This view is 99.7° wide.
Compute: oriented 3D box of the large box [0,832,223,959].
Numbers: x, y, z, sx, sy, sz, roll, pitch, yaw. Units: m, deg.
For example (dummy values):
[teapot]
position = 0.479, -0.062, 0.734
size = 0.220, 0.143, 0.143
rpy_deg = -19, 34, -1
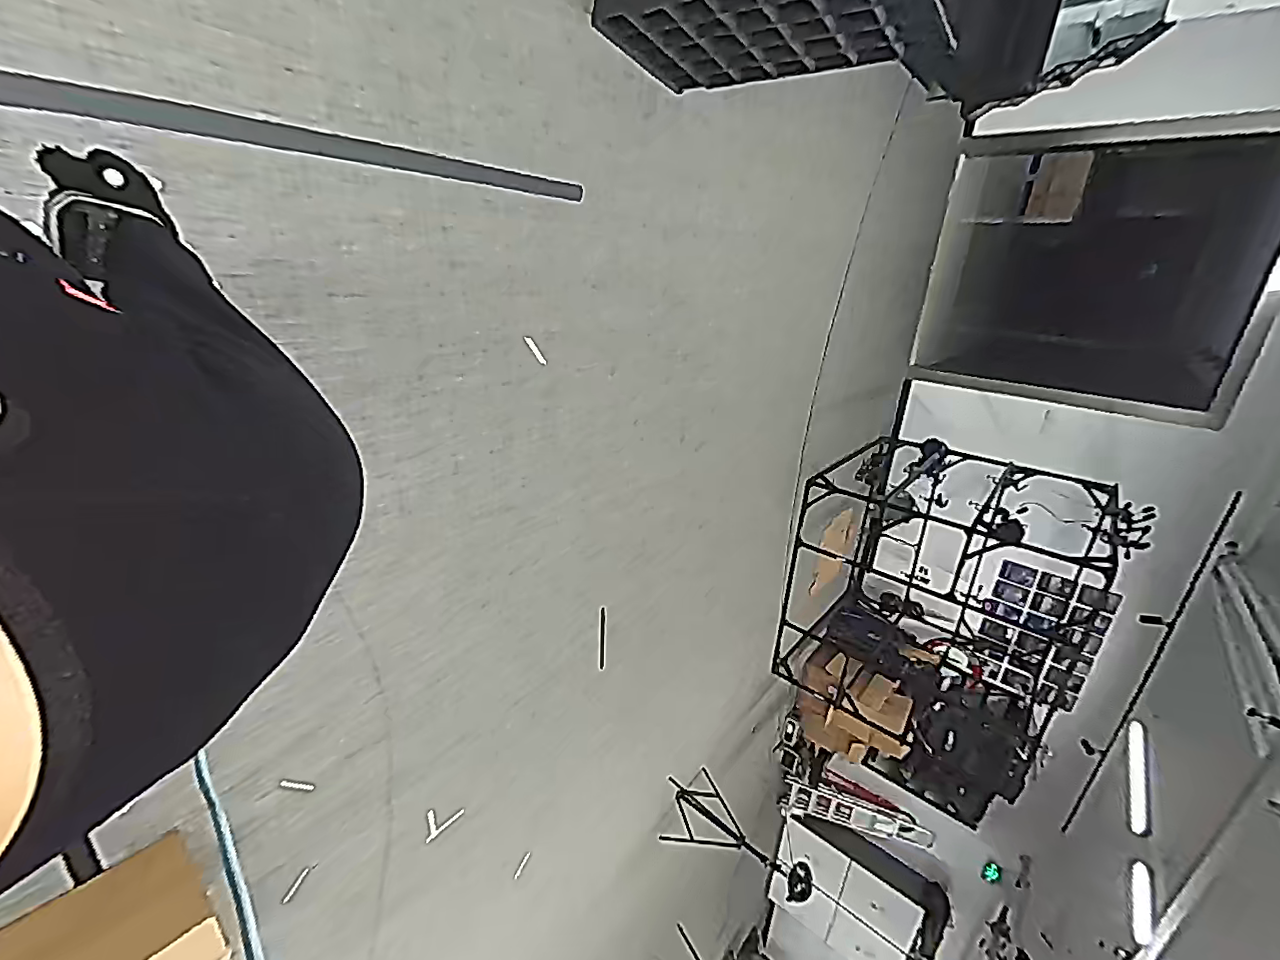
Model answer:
[large box]
position = -1.263, 1.148, 1.250
size = 0.408, 0.320, 0.320
rpy_deg = -20, 122, -47
